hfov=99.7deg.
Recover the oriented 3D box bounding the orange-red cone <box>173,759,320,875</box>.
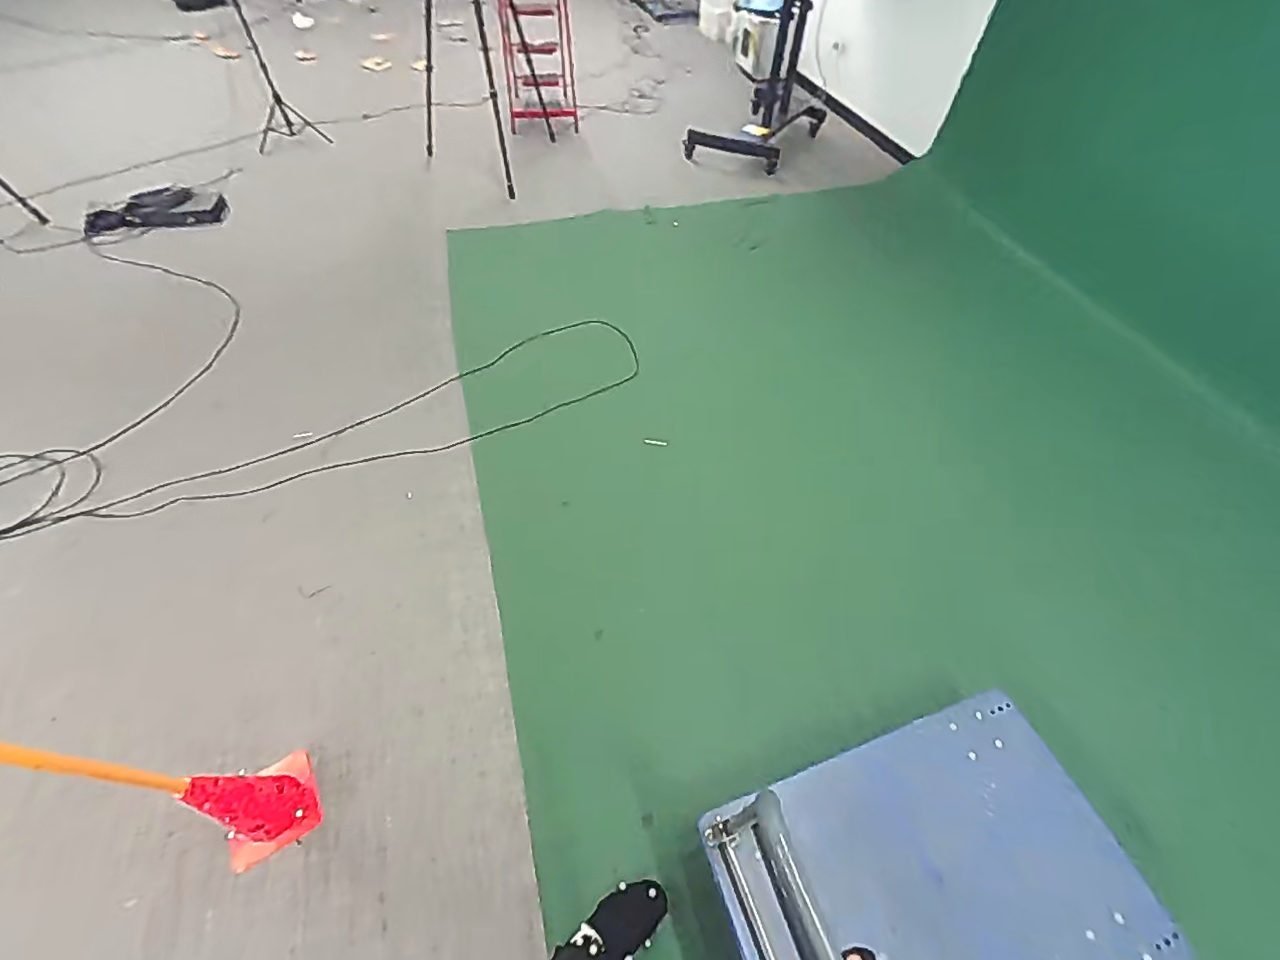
[{"bbox_3d":[-0.904,0.718,1.200,0.198,0.360,0.199,-25,56,-20],"label":"orange-red cone"}]
